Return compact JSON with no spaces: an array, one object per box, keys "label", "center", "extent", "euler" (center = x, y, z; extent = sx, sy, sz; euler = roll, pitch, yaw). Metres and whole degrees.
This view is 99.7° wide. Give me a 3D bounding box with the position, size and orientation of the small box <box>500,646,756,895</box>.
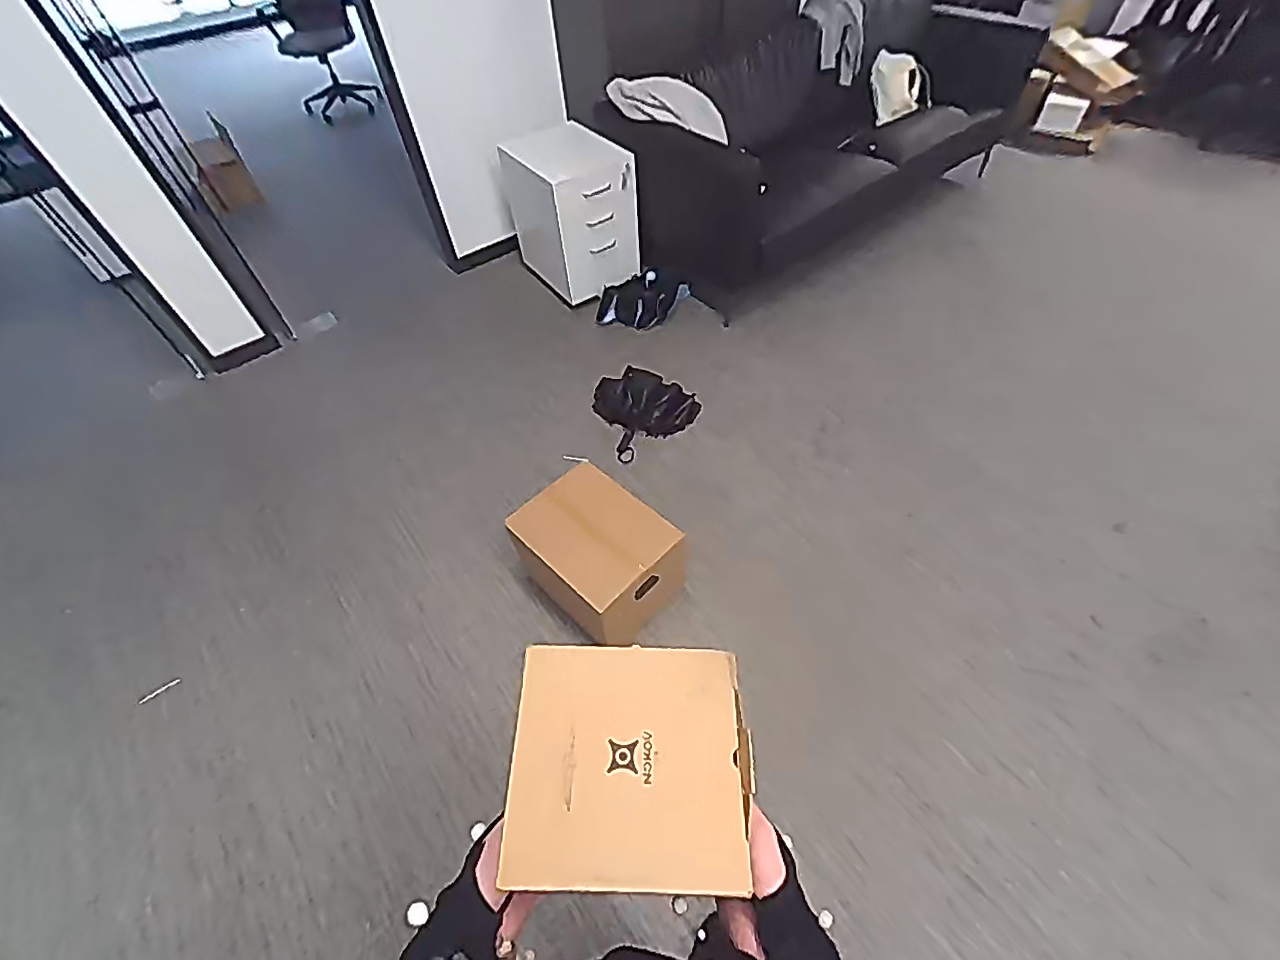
[{"label":"small box","center":[-0.008,0.253,0.474],"extent":[0.179,0.176,0.168],"euler":[0,55,0]}]
